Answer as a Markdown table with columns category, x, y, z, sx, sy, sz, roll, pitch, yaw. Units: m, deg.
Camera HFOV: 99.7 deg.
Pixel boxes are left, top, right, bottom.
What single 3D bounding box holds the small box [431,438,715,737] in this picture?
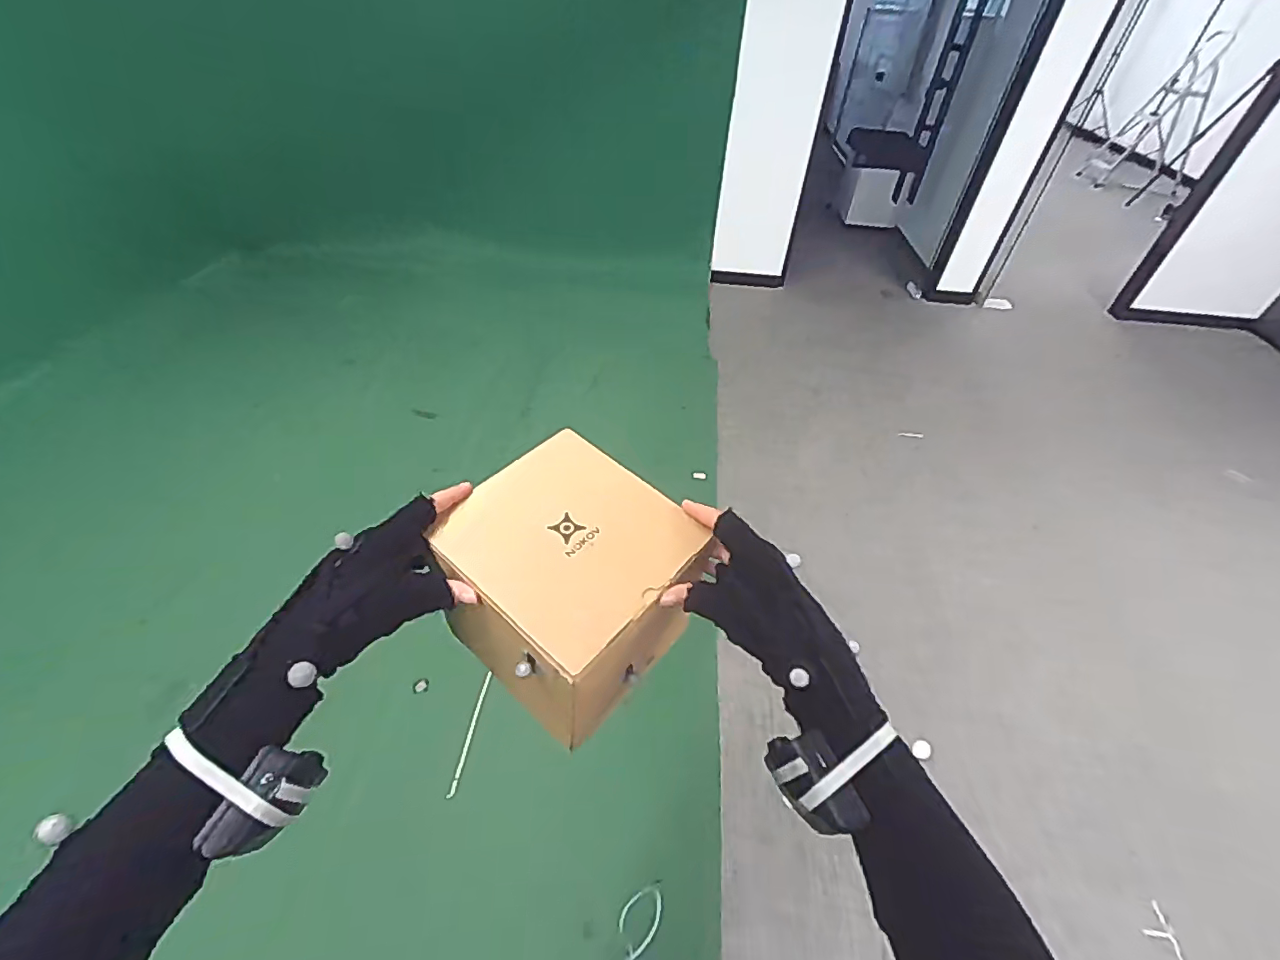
| category | x | y | z | sx | sy | sz | roll | pitch | yaw |
| --- | --- | --- | --- | --- | --- | --- | --- | --- | --- |
| small box | -0.061 | 0.099 | 0.500 | 0.179 | 0.176 | 0.168 | 36 | 53 | 22 |
